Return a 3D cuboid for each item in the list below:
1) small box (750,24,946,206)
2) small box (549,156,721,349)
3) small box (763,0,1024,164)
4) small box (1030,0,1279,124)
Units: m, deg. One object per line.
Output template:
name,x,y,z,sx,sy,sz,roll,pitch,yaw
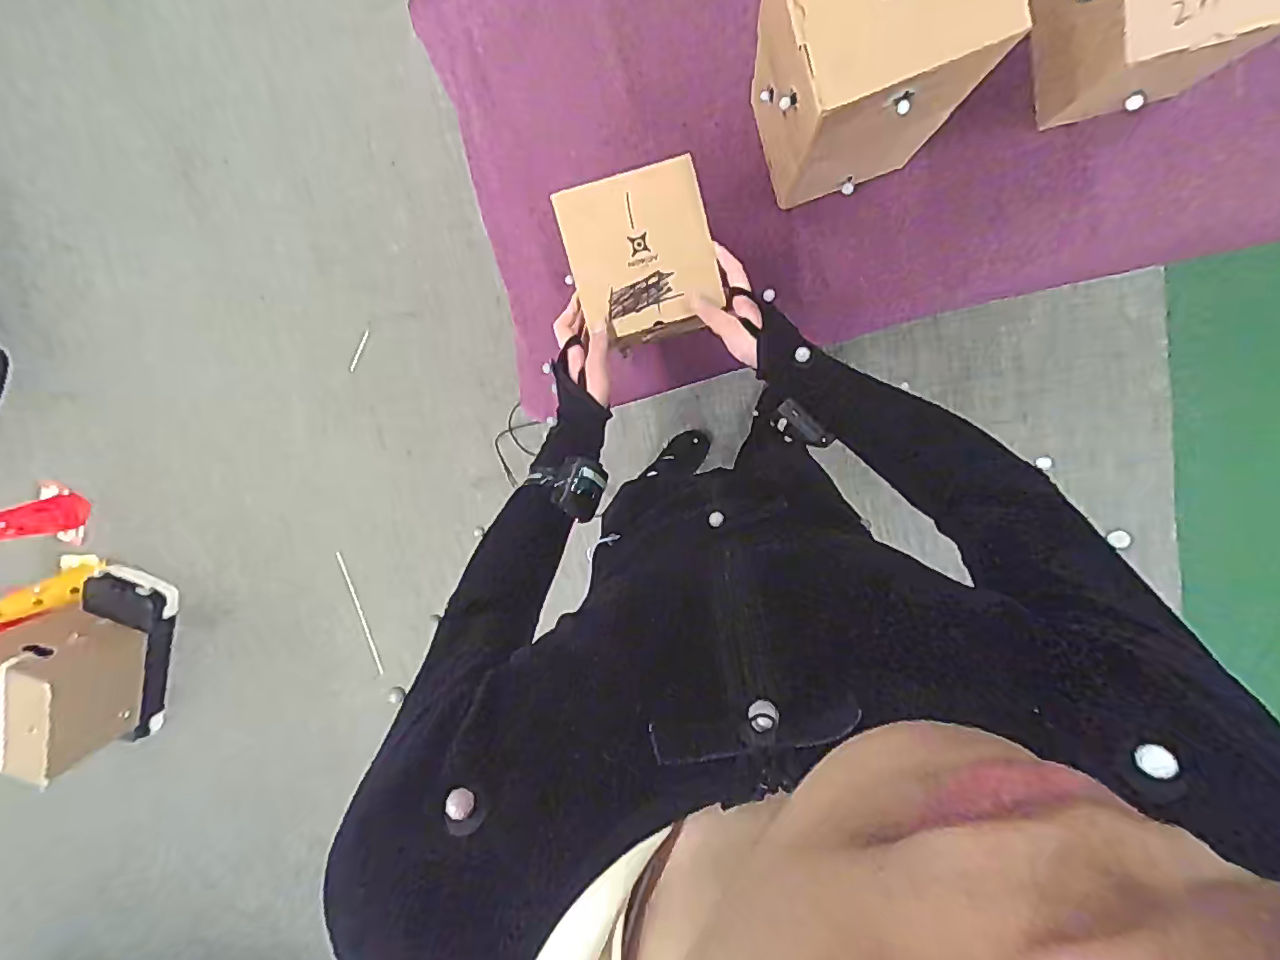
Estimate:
small box,0.248,-0.478,0.683,0.179,0.176,0.168,-16,99,11
small box,-0.003,-0.272,0.694,0.168,0.176,0.179,-15,99,2
small box,0.223,-0.443,0.525,0.179,0.176,0.168,-16,100,12
small box,0.580,-0.553,0.618,0.168,0.176,0.179,-10,101,11
